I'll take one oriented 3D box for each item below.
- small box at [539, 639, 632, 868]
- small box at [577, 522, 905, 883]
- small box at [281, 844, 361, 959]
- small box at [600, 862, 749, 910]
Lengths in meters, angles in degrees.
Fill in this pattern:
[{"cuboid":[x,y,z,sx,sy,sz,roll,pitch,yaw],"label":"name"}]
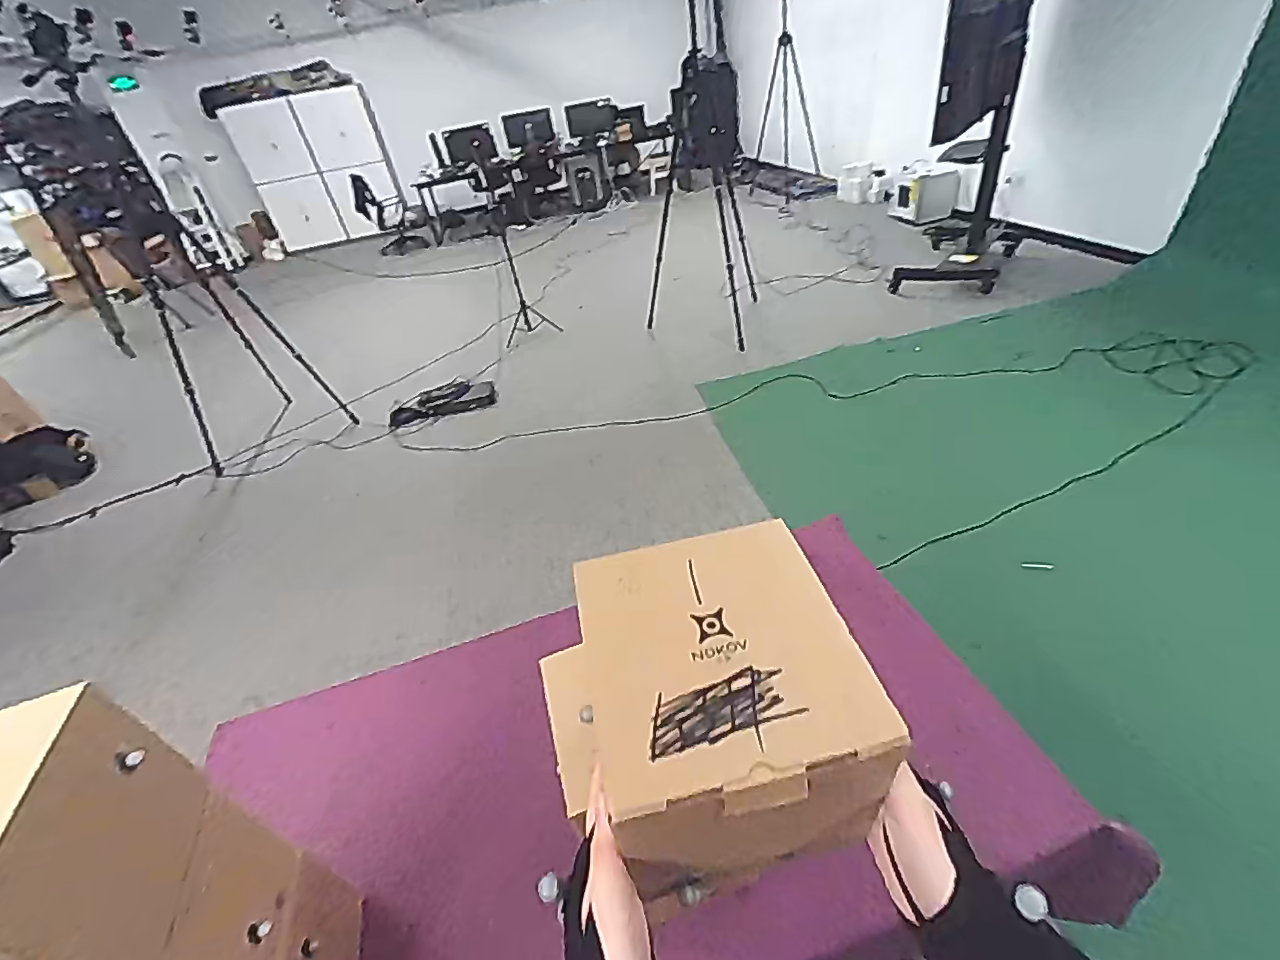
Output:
[{"cuboid":[0.008,0.271,0.574,0.179,0.176,0.168,-17,39,-8],"label":"small box"},{"cuboid":[0.056,0.162,0.394,0.168,0.176,0.179,-11,40,-5],"label":"small box"},{"cuboid":[-0.429,0.551,0.592,0.168,0.176,0.179,-17,37,-10],"label":"small box"},{"cuboid":[0.029,0.399,0.676,0.168,0.176,0.179,-17,39,-8],"label":"small box"}]
